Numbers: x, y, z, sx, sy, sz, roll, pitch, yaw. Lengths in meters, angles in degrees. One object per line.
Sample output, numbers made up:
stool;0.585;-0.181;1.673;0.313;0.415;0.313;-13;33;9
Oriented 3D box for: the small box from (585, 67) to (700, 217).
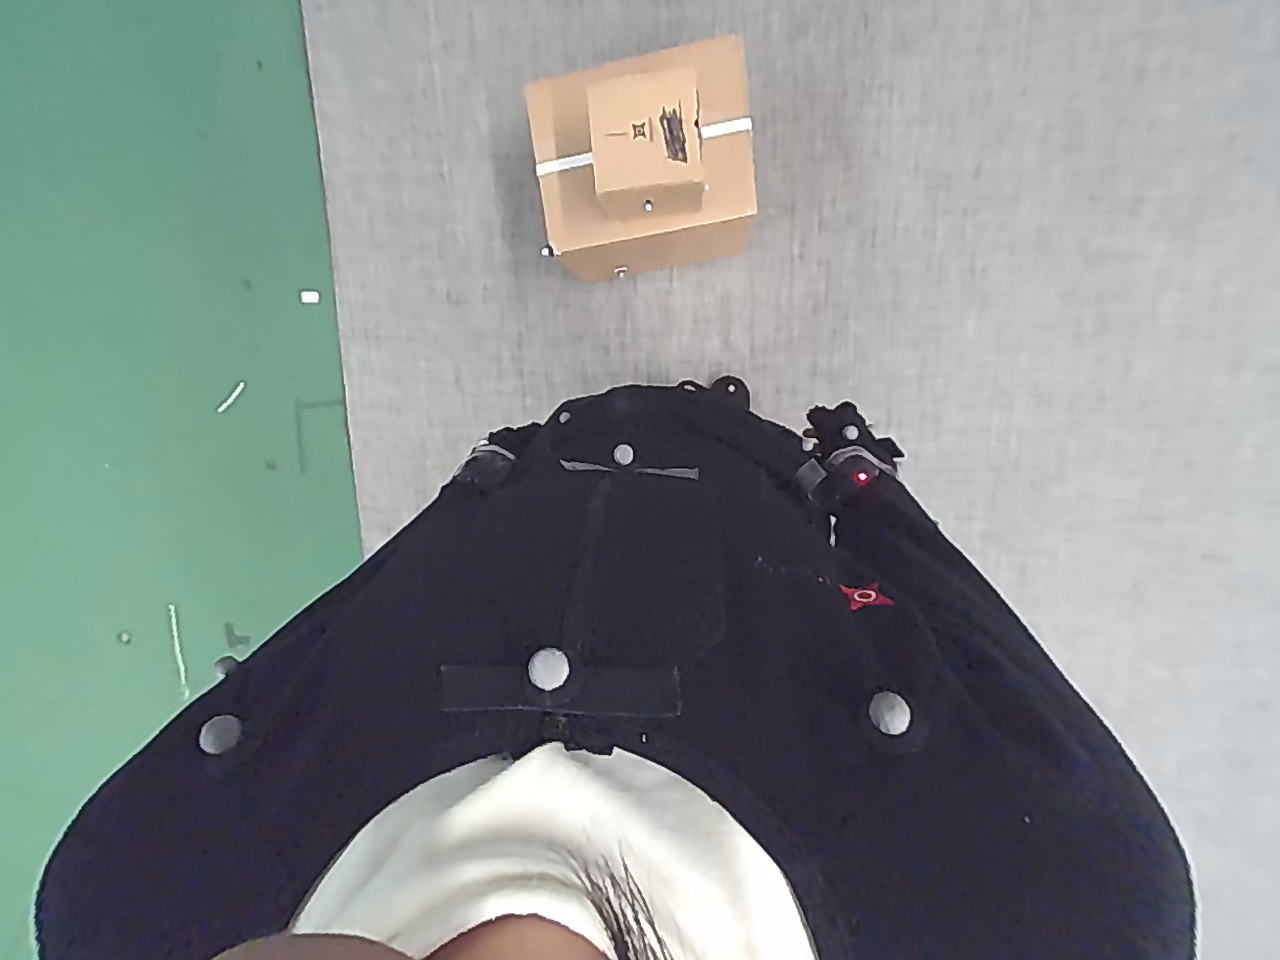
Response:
small box;0.012;-0.572;0.938;0.179;0.176;0.168;-3;101;8
